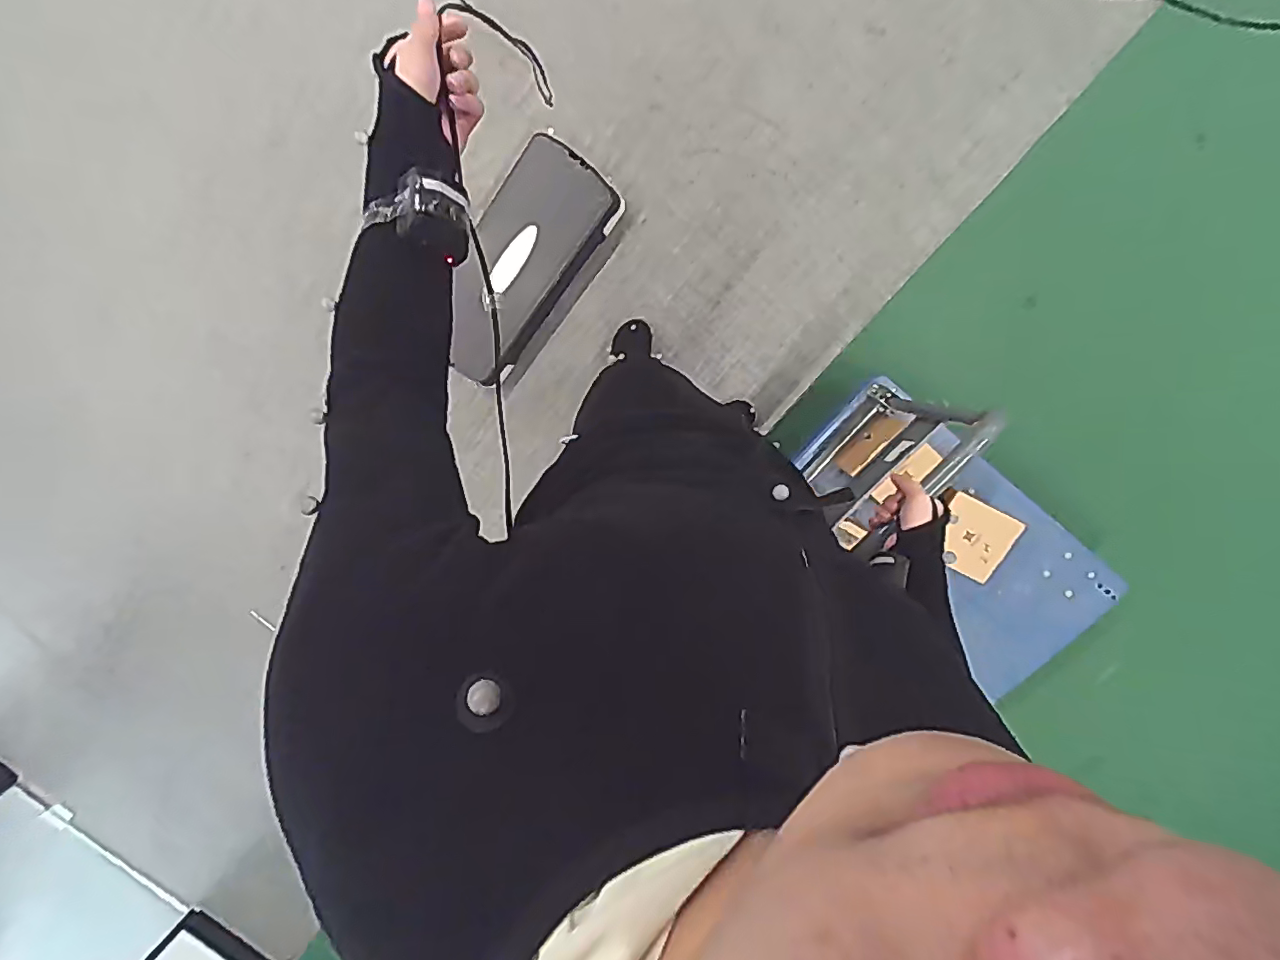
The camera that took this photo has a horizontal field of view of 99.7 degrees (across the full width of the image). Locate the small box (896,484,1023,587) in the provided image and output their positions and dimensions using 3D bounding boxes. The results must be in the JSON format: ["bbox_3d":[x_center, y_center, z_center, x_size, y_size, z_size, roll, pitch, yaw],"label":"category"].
[{"bbox_3d":[0.757,0.124,1.306,0.179,0.176,0.168,27,105,0],"label":"small box"}]
